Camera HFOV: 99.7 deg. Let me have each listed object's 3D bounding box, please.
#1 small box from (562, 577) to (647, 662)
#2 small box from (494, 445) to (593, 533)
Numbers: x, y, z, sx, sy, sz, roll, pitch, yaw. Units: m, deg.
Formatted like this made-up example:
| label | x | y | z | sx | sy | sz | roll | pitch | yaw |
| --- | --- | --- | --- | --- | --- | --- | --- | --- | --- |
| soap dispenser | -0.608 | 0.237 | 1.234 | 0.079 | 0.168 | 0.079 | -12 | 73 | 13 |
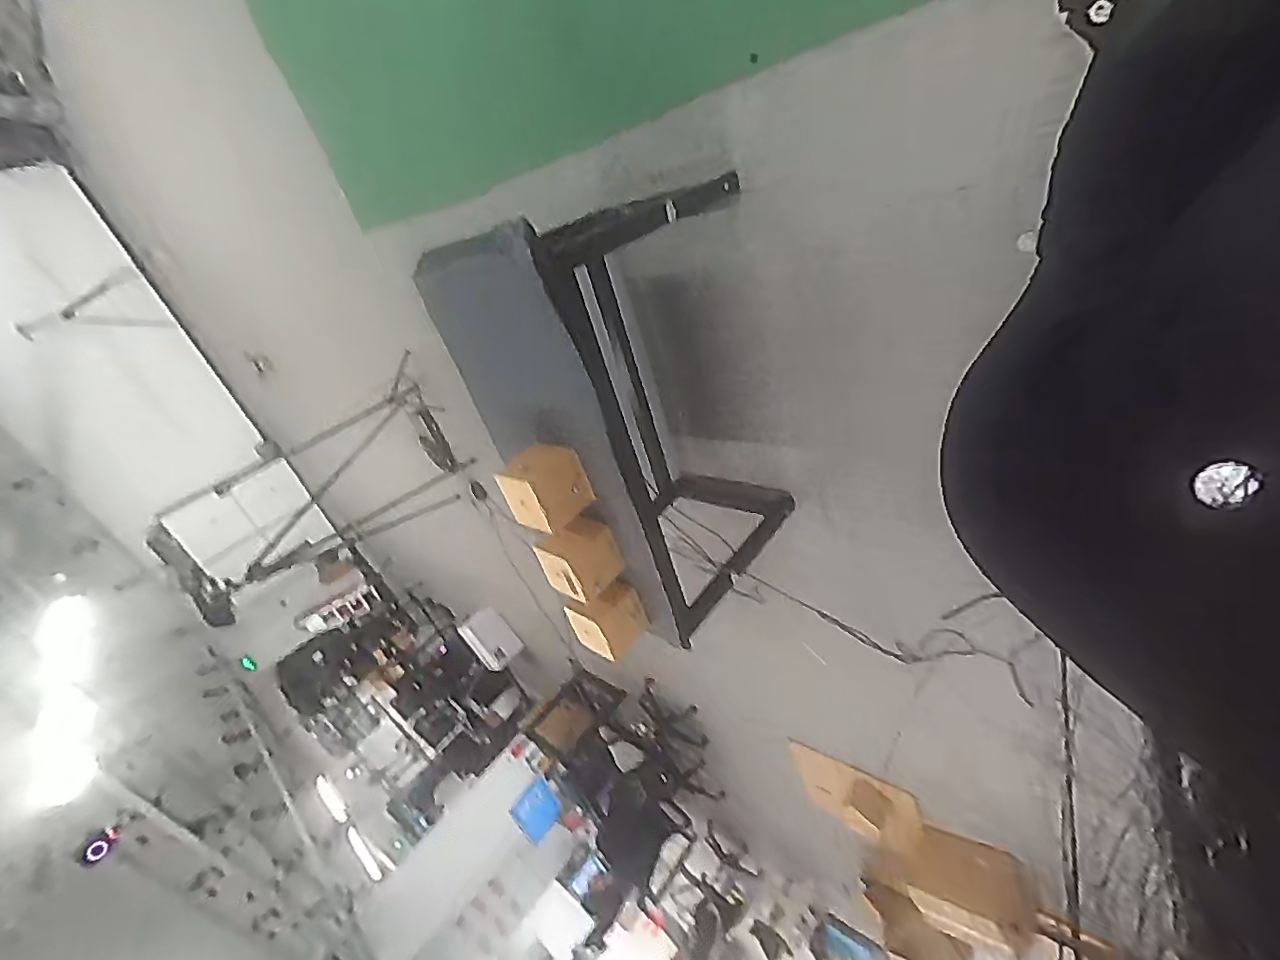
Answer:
| label | x | y | z | sx | sy | sz | roll | pitch | yaw |
| --- | --- | --- | --- | --- | --- | --- | --- | --- | --- |
| small box | -0.108 | 0.428 | 1.697 | 0.179 | 0.176 | 0.168 | 11 | 130 | 44 |
| small box | -0.260 | 0.017 | 1.483 | 0.179 | 0.176 | 0.168 | 10 | 130 | 43 |
